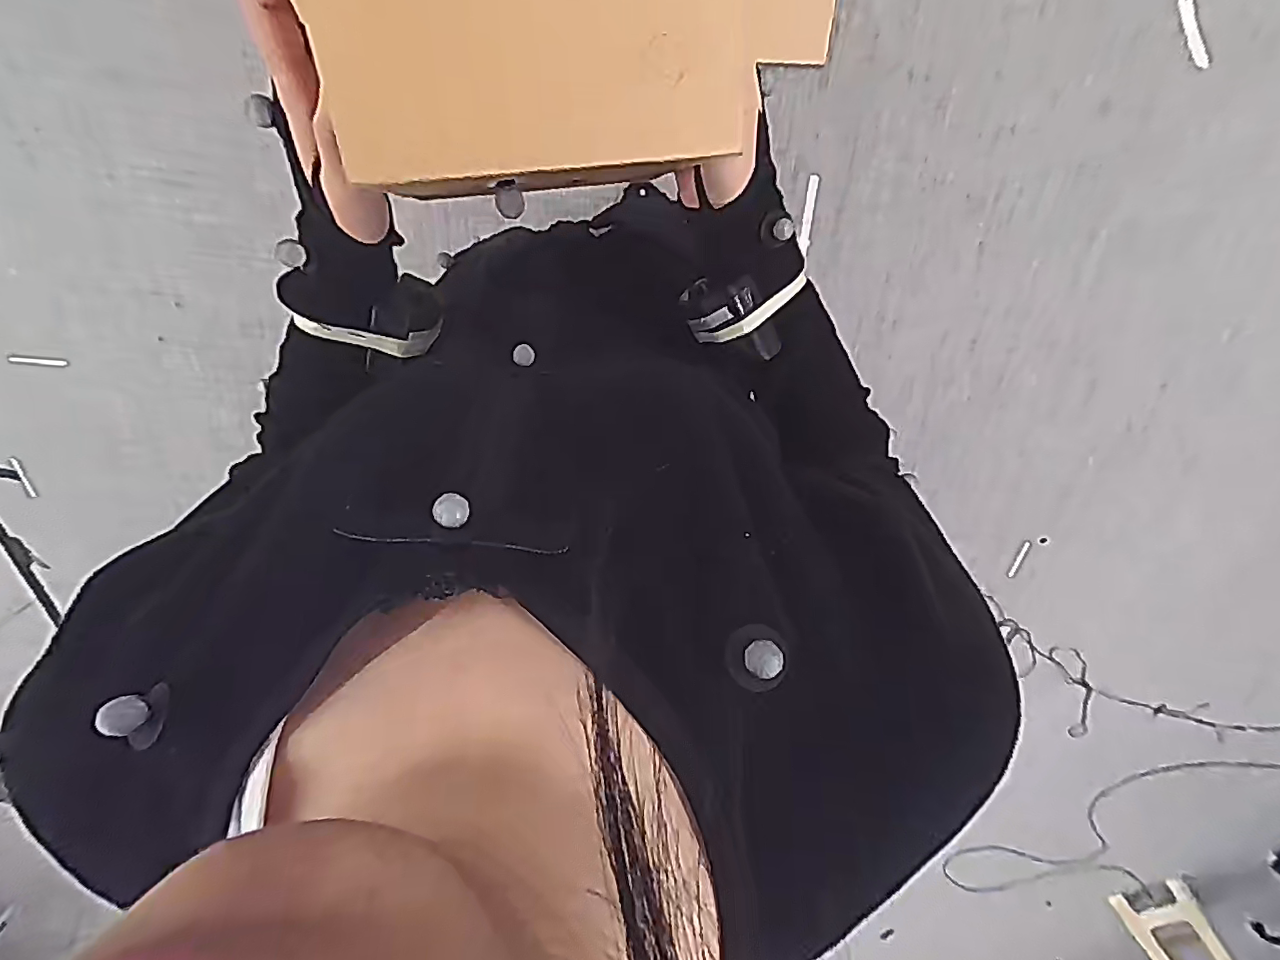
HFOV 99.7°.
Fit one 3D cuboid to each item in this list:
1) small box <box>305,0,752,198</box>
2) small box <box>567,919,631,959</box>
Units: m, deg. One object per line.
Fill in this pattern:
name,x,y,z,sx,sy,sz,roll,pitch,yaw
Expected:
small box,-0.053,-0.236,0.256,0.168,0.176,0.179,-9,116,-8
small box,-0.115,1.318,1.444,0.168,0.176,0.179,6,119,-2
